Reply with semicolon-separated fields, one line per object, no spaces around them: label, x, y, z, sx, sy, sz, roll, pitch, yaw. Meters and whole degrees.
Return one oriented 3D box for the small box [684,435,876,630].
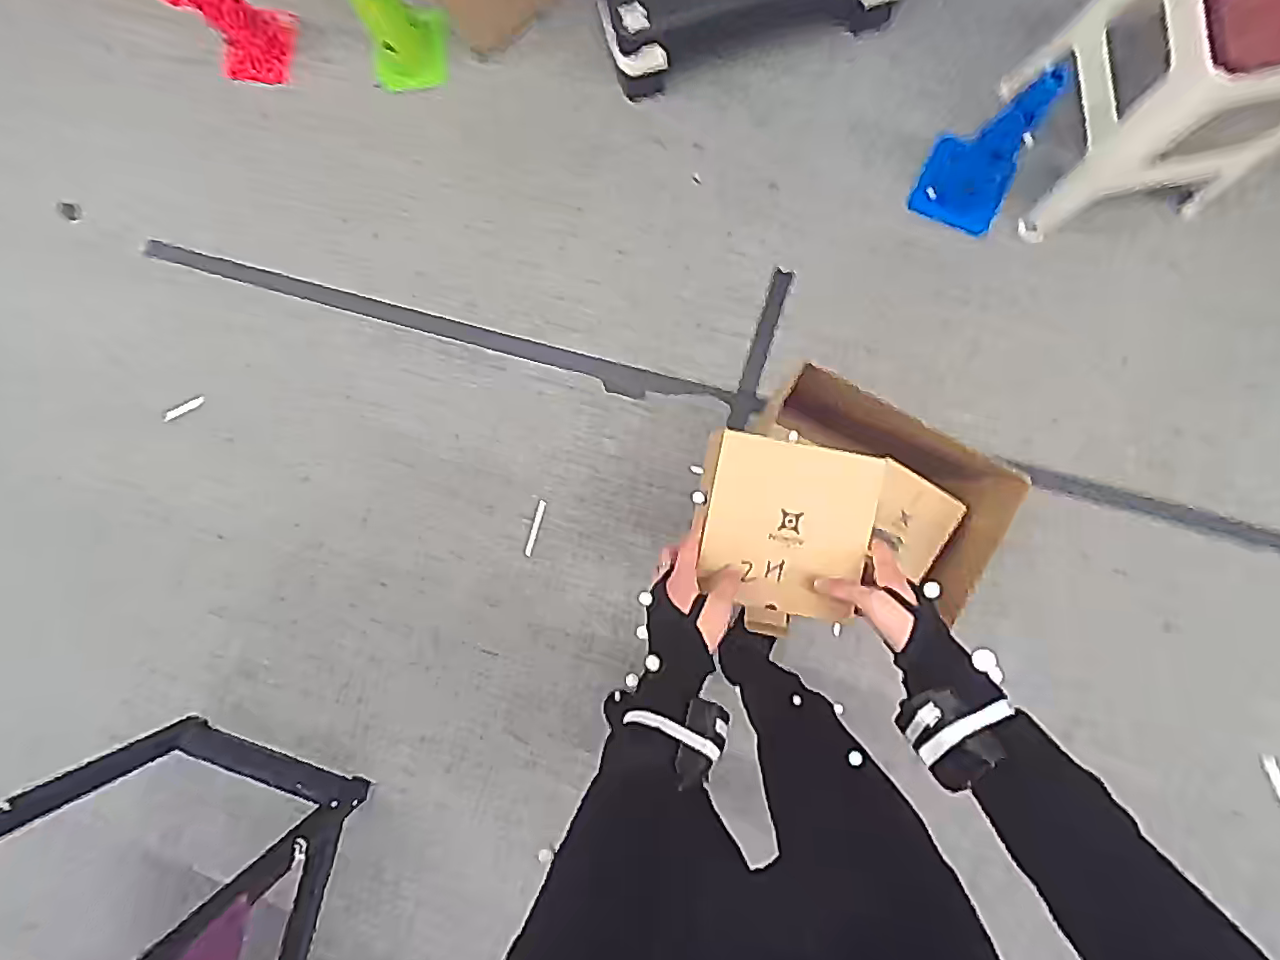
small box;0.145;0.048;0.627;0.168;0.176;0.179;10;95;2
